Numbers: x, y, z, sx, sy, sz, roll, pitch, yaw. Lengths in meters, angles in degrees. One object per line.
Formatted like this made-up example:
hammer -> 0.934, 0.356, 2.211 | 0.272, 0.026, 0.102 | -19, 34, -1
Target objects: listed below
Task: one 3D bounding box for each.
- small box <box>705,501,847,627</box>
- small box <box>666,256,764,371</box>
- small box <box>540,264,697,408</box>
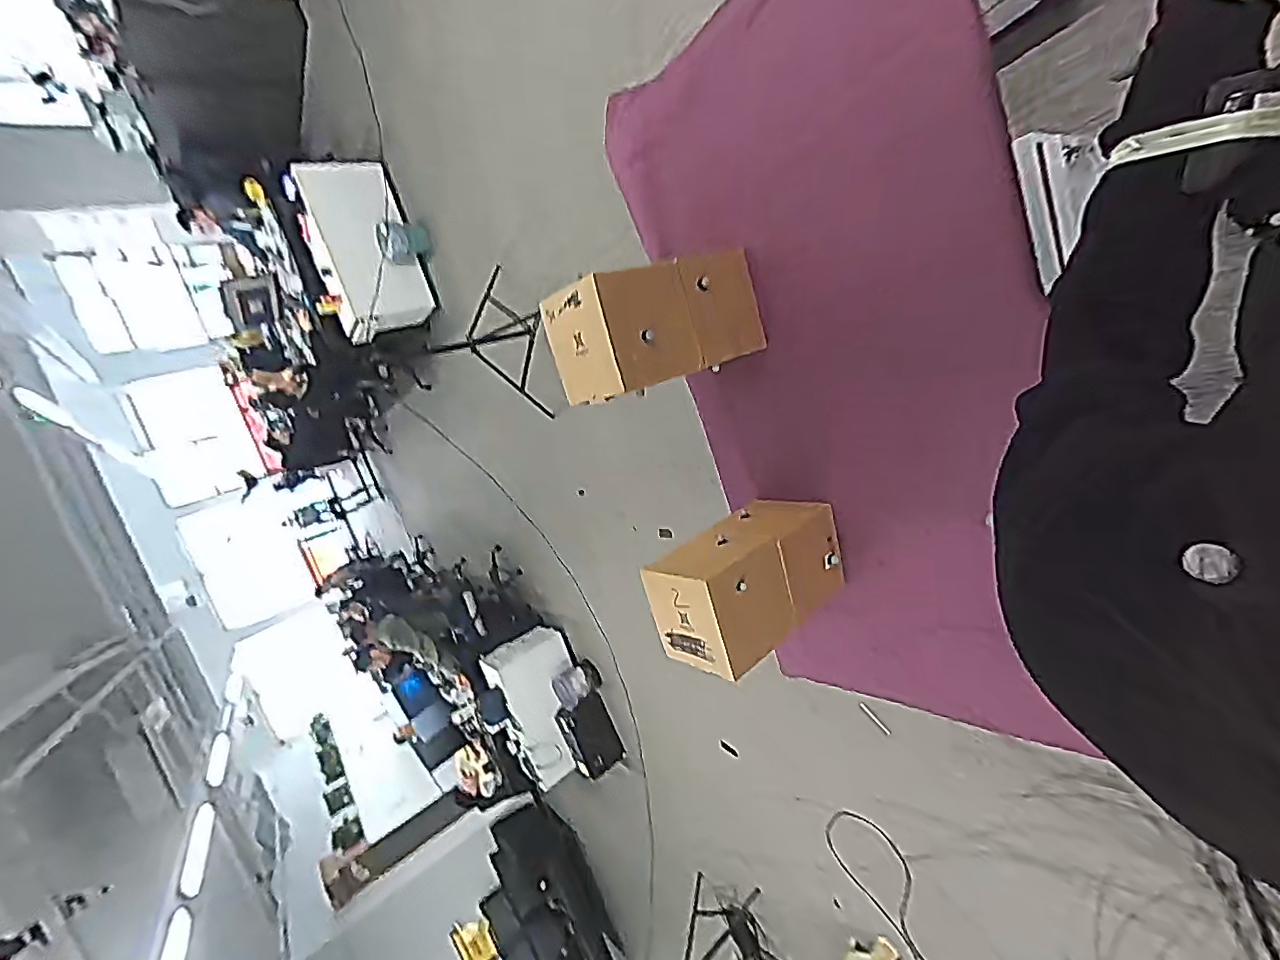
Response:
small box -> 0.255, 0.146, 1.013 | 0.179, 0.176, 0.168 | 0, 111, 51
small box -> 0.094, -0.287, 0.966 | 0.168, 0.176, 0.179 | -2, 108, 54
small box -> -0.030, -0.230, 0.875 | 0.168, 0.176, 0.179 | 0, 110, 53
